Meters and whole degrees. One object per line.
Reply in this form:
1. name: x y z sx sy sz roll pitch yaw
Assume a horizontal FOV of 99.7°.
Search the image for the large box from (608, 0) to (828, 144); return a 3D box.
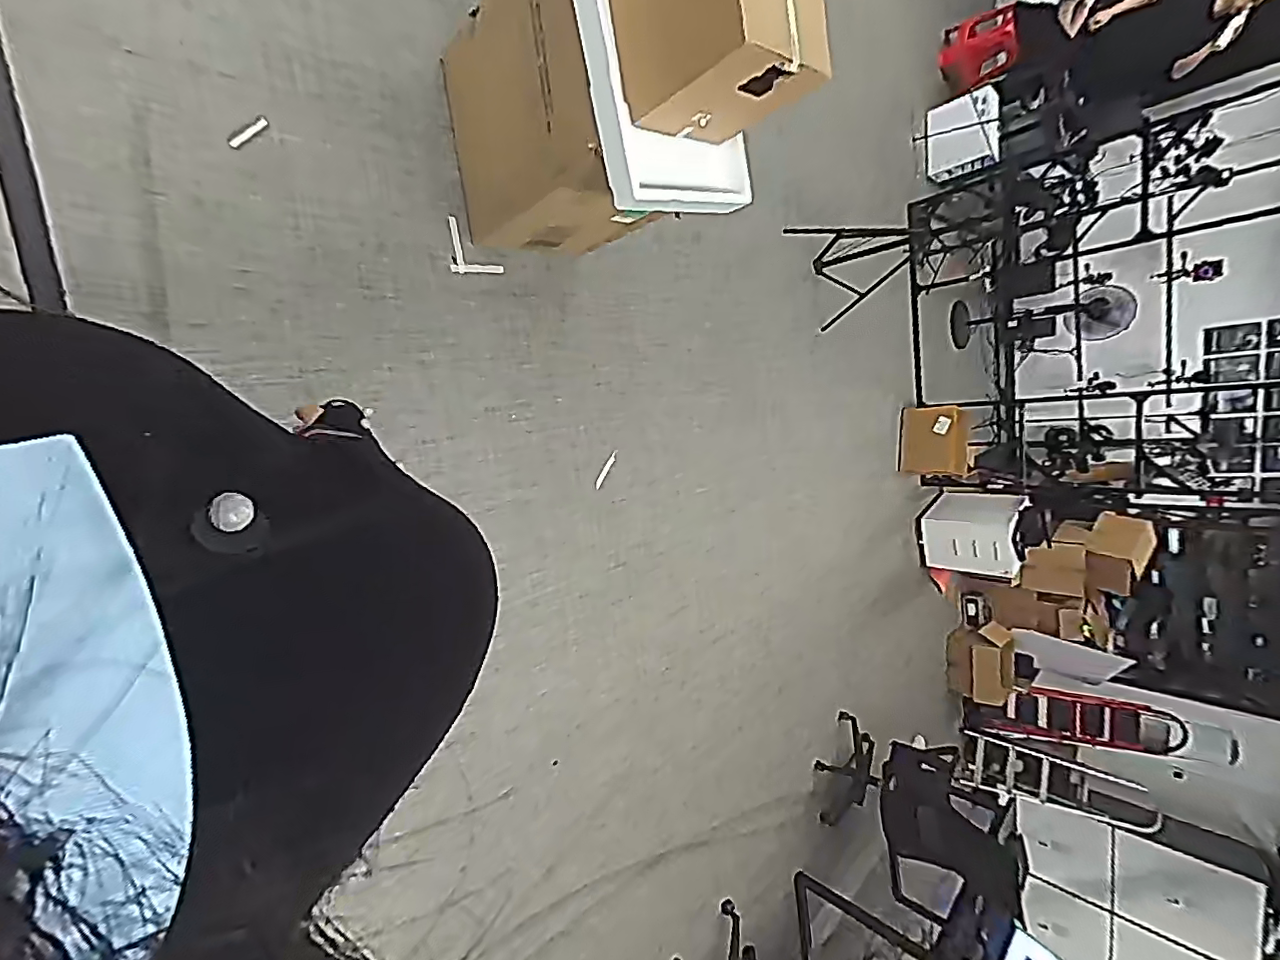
1. large box: 0.148 -0.985 1.112 0.320 0.320 0.408 -21 104 -42
